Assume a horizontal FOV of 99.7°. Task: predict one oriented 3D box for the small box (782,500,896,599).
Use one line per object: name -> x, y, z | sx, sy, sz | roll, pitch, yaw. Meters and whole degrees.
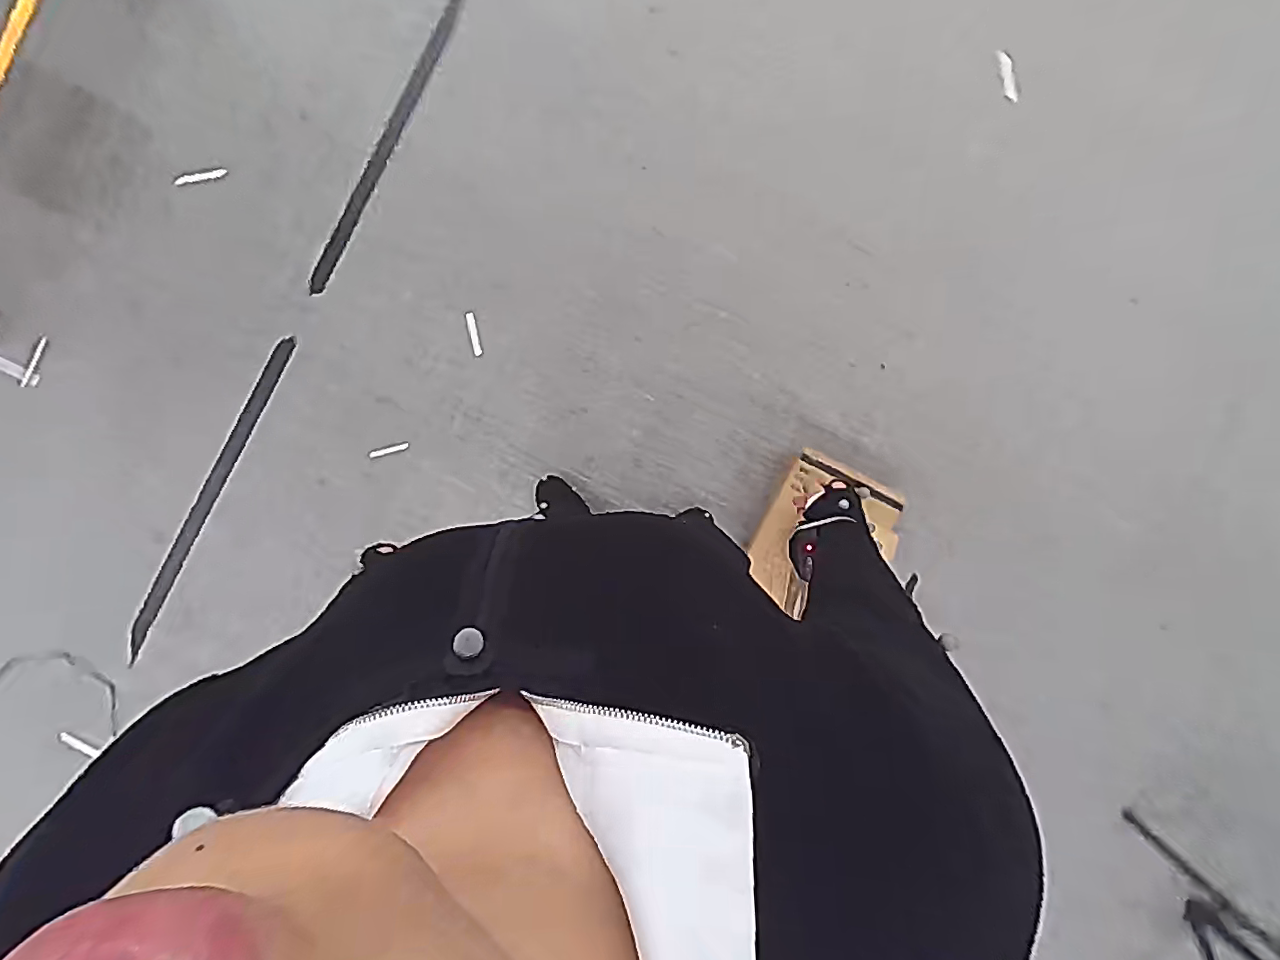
small box -> 0.469, 0.157, 1.302 | 0.179, 0.176, 0.168 | 27, 93, 0
